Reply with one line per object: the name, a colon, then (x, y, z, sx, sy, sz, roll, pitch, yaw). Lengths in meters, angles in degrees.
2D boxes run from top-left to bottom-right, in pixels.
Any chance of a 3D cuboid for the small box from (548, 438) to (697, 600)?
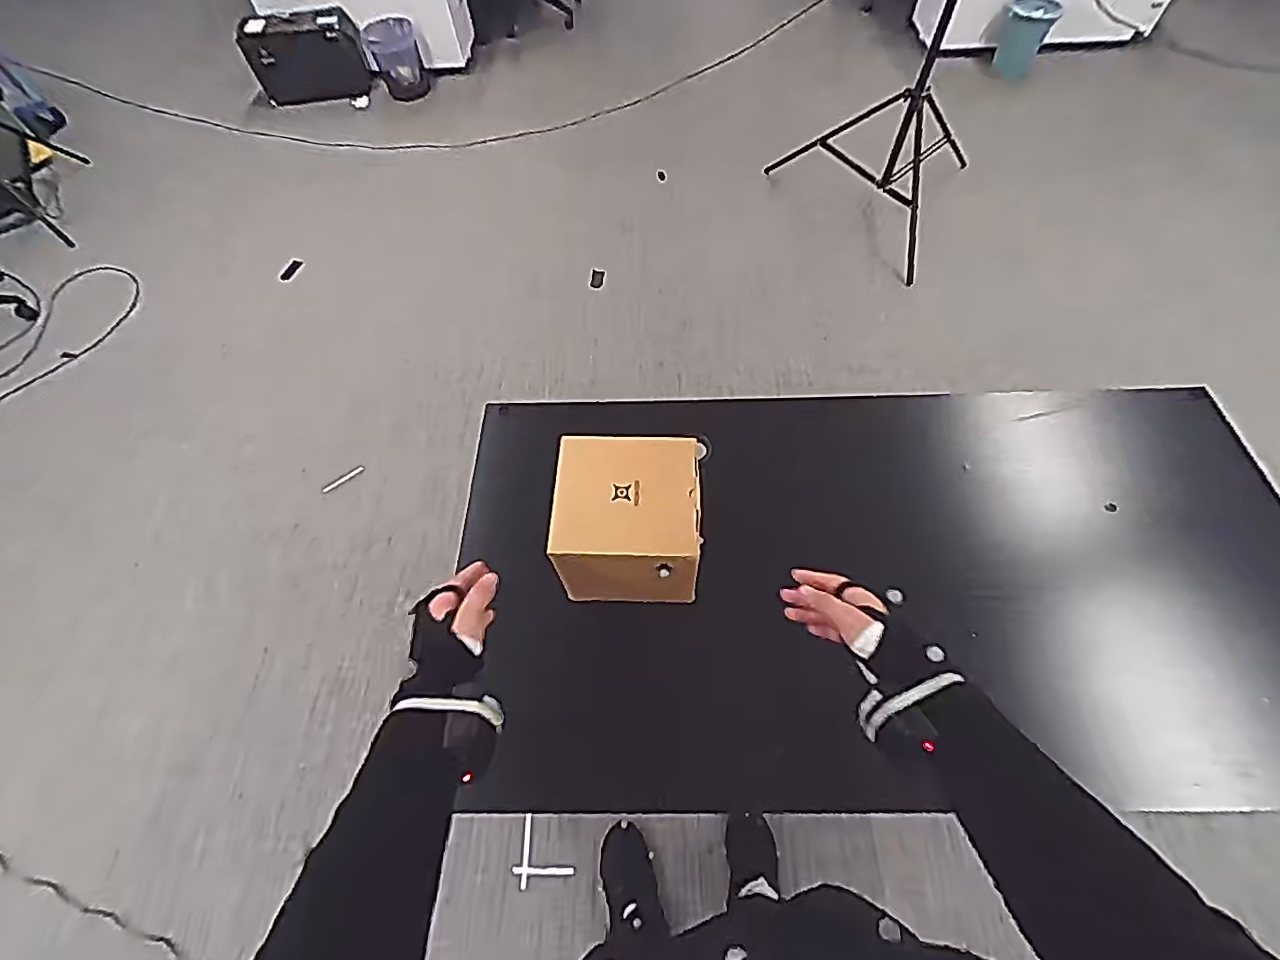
small box: (-0.015, 0.058, 0.731, 0.179, 0.176, 0.168, 1, 60, 2)
